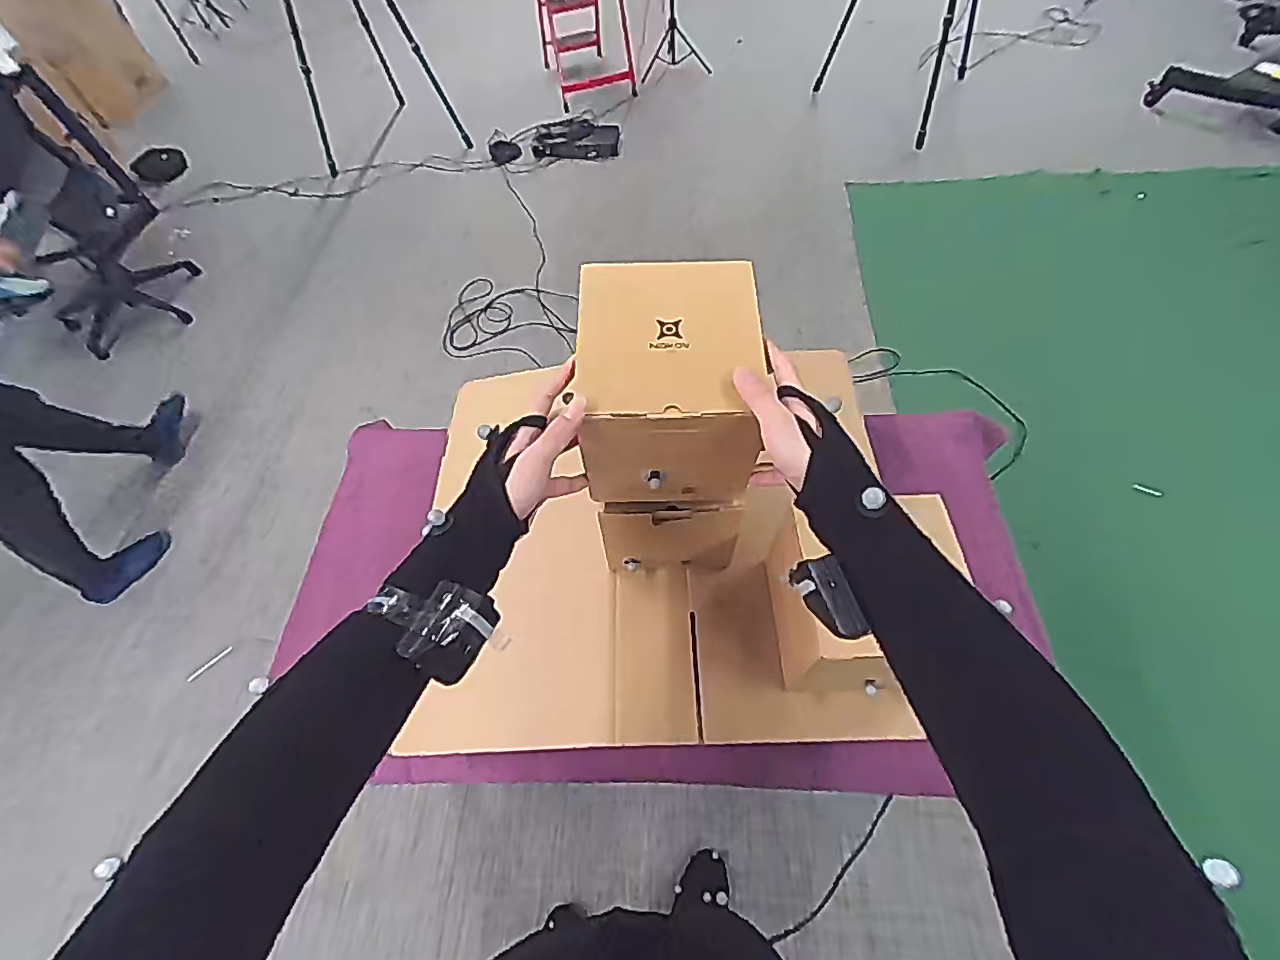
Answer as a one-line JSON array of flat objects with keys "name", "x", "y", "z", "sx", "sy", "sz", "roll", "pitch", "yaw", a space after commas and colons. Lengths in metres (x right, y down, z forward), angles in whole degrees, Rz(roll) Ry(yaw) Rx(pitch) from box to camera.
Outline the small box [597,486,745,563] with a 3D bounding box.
[{"name": "small box", "x": 0.036, "y": 0.001, "z": 0.699, "sx": 0.168, "sy": 0.176, "sz": 0.179, "roll": -2, "pitch": 58, "yaw": 0}]

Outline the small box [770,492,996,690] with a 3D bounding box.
[{"name": "small box", "x": 0.251, "y": 0.130, "z": 0.613, "sx": 0.168, "sy": 0.176, "sz": 0.179, "roll": -2, "pitch": 59, "yaw": 2}]

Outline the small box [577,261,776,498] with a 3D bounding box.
[{"name": "small box", "x": 0.029, "y": -0.095, "z": 0.547, "sx": 0.168, "sy": 0.176, "sz": 0.179, "roll": -1, "pitch": 64, "yaw": 0}]
